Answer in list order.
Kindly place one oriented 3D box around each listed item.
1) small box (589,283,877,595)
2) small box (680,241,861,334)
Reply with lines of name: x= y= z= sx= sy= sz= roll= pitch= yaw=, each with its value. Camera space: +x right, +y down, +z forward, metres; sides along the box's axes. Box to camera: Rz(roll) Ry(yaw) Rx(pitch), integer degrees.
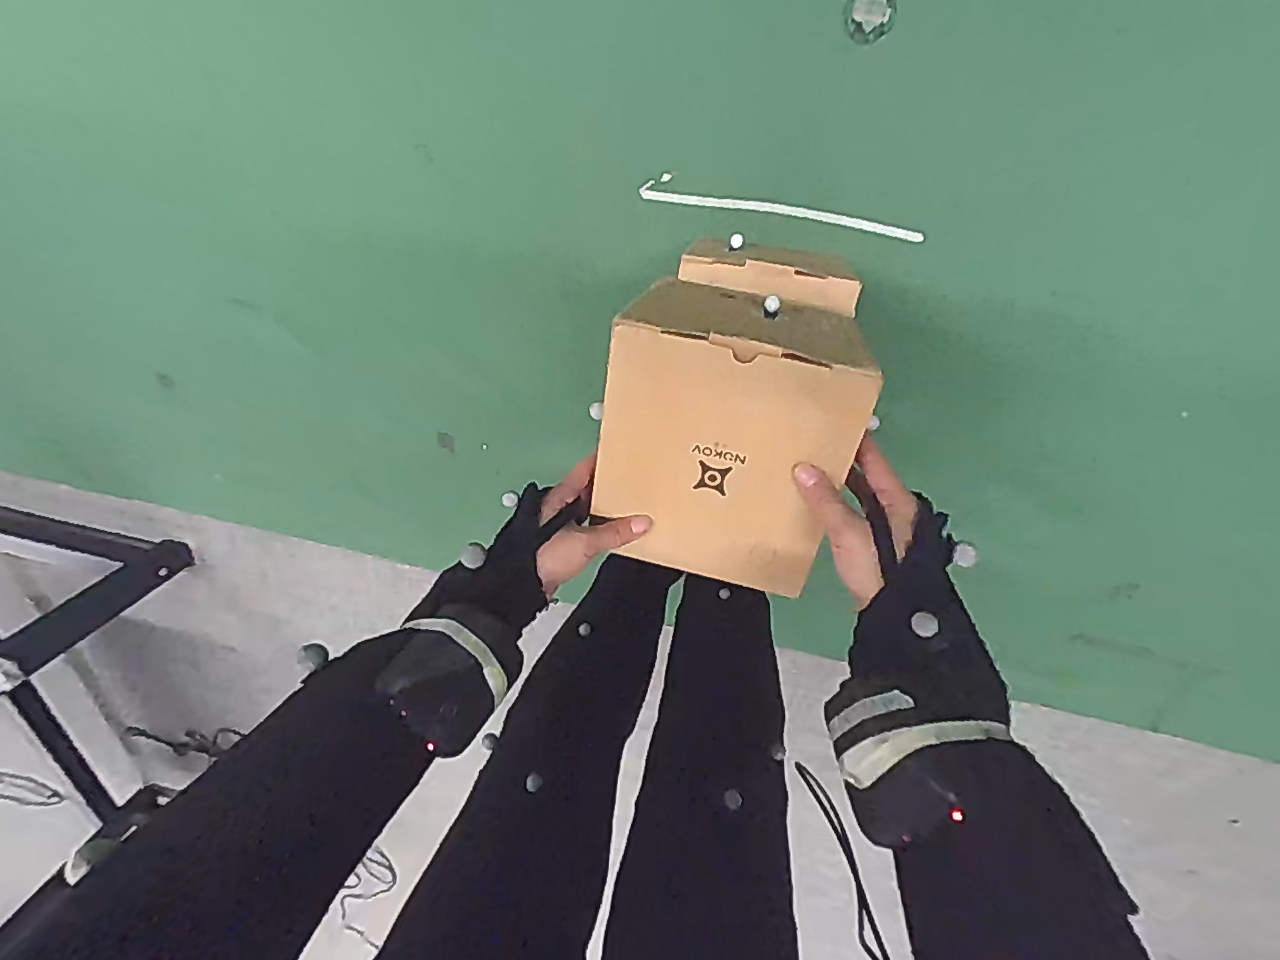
small box: x=0.068 y=-0.044 z=0.435 sx=0.168 sy=0.176 sz=0.179 roll=13 pitch=120 yaw=7
small box: x=0.124 y=-0.156 z=0.599 sx=0.168 sy=0.176 sz=0.179 roll=12 pitch=122 yaw=7
